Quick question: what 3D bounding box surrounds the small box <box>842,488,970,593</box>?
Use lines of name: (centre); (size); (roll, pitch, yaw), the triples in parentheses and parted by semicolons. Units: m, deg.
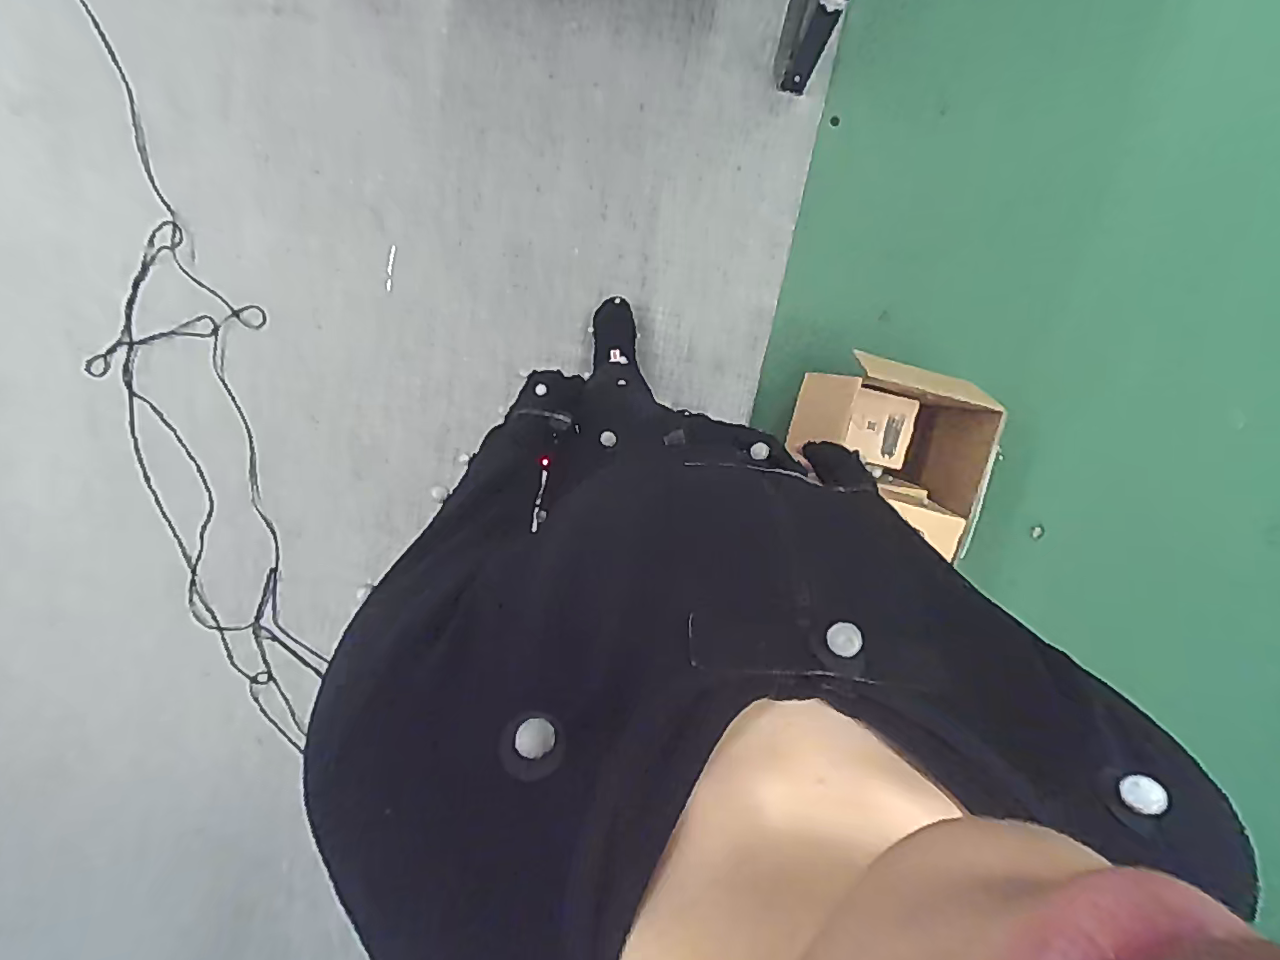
small box: (0.575, 0.125, 1.197); (0.179, 0.176, 0.168); (15, 102, -1)
